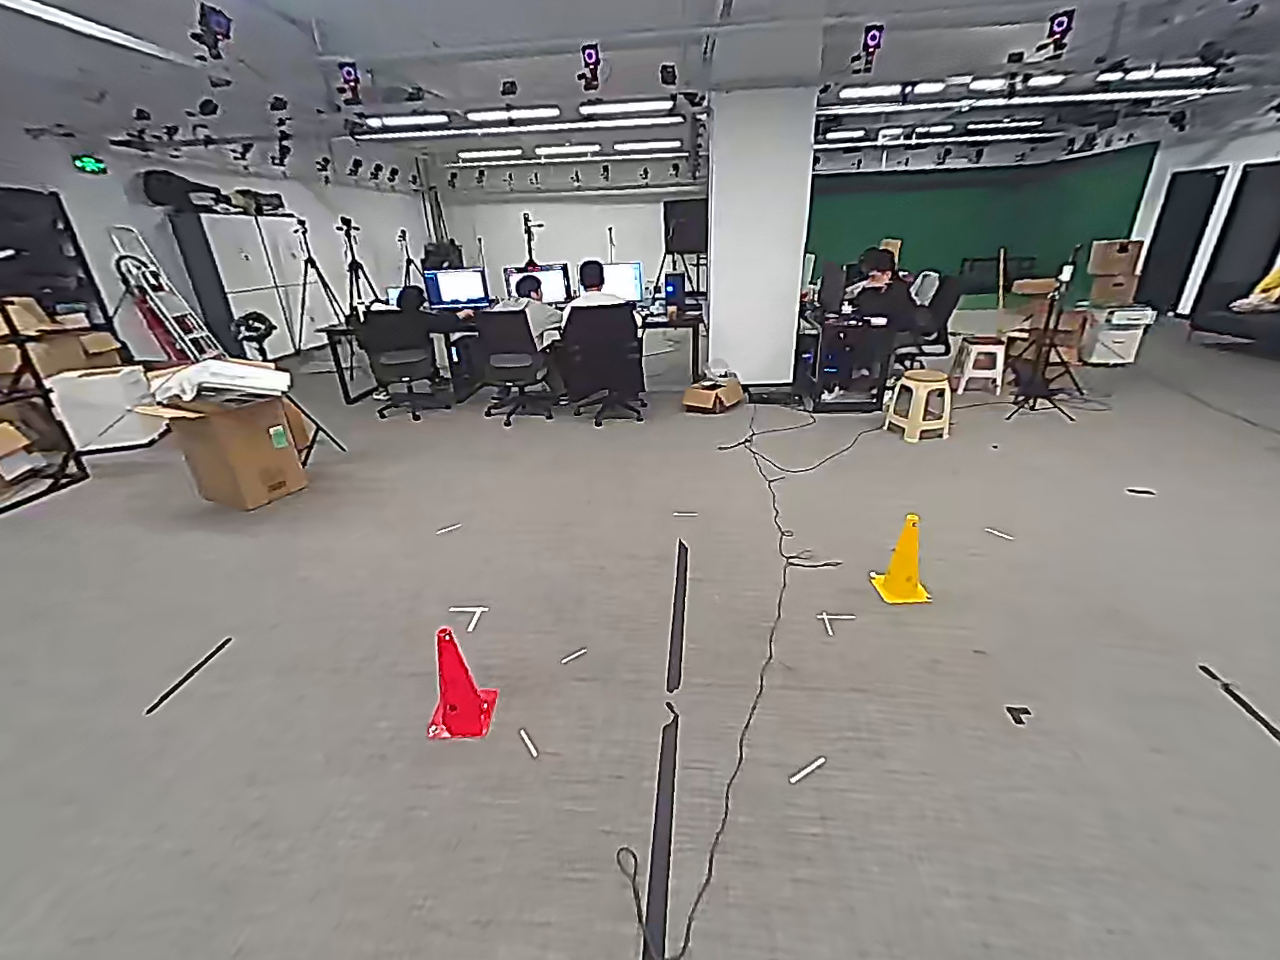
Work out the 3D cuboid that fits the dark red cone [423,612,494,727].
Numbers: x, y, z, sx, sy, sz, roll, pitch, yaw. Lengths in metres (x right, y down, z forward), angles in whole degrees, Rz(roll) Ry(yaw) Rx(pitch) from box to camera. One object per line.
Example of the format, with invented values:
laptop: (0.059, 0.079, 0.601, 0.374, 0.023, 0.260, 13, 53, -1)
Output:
dark red cone: (-0.606, 0.597, 1.740, 0.201, 0.394, 0.202, -2, 24, -1)
